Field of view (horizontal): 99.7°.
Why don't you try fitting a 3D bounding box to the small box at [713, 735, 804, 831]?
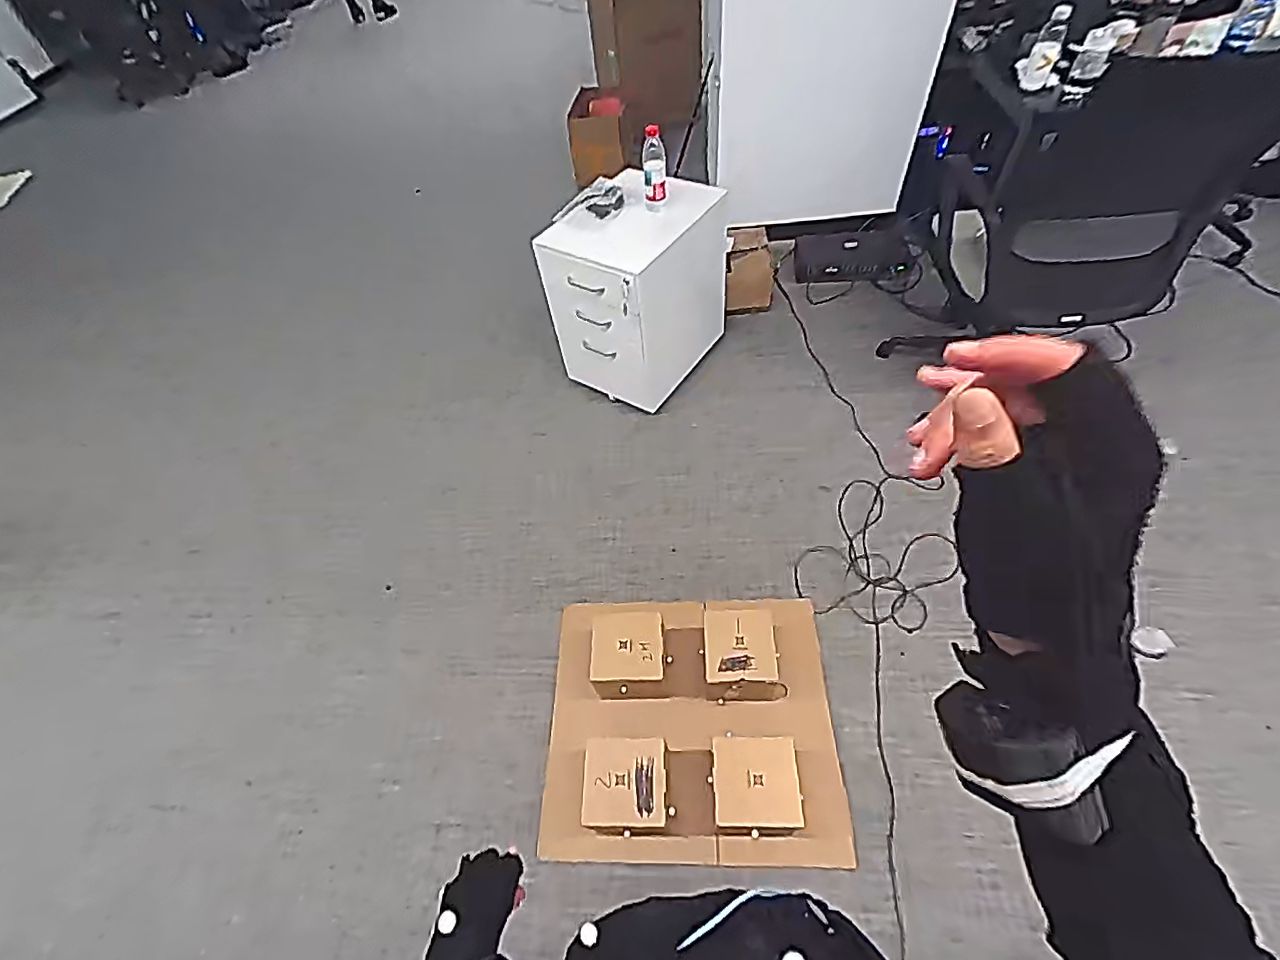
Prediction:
[{"bbox_3d":[0.251,0.664,1.184,0.179,0.176,0.168,-3,54,8],"label":"small box"}]
